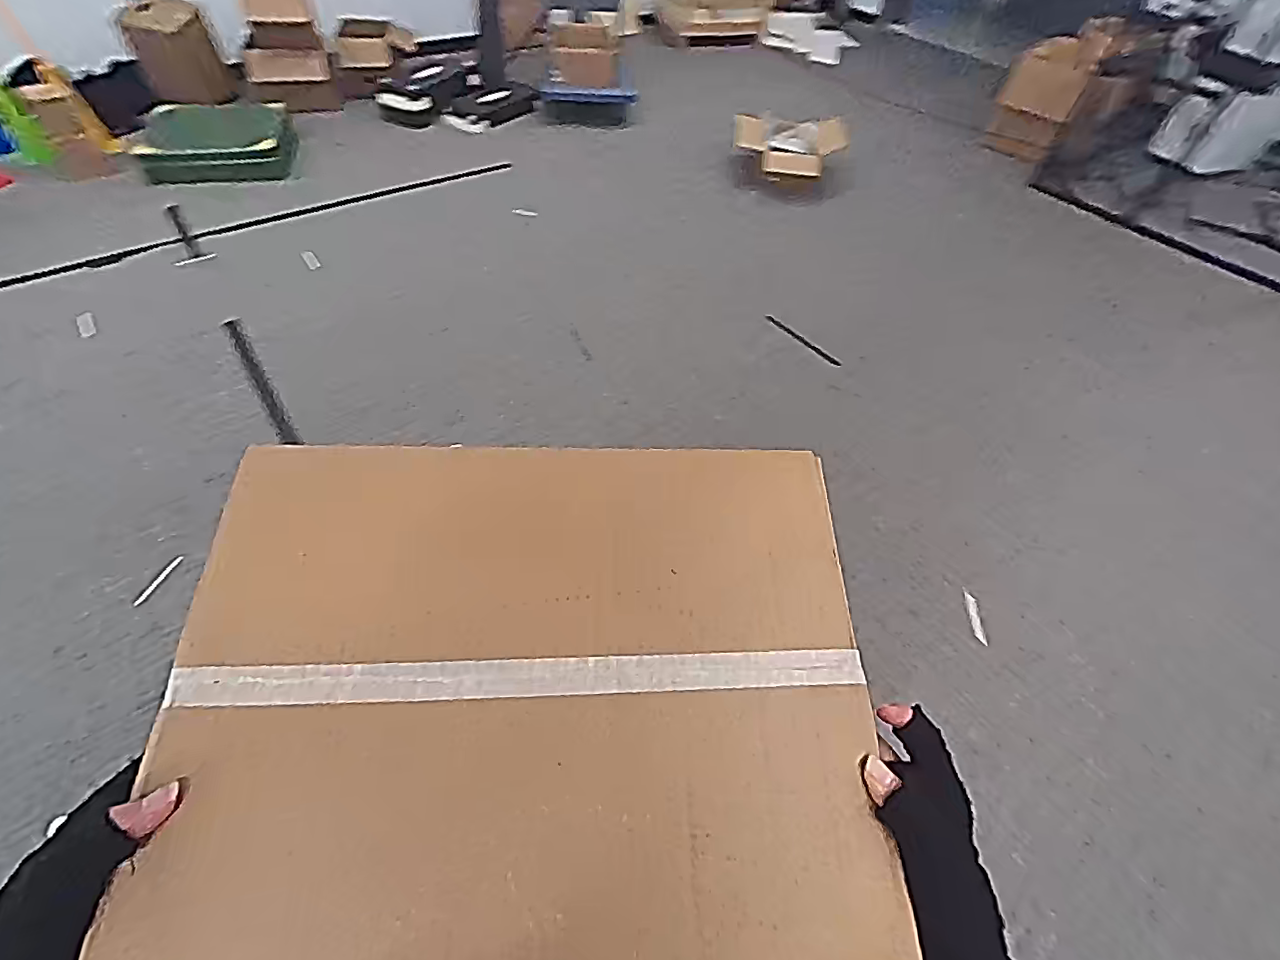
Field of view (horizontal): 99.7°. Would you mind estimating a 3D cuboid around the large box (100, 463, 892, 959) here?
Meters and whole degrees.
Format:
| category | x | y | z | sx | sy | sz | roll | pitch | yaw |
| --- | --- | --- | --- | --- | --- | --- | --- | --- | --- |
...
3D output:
| category | x | y | z | sx | sy | sz | roll | pitch | yaw |
| --- | --- | --- | --- | --- | --- | --- | --- | --- | --- |
| large box | -0.081 | 0.194 | 0.462 | 0.408 | 0.320 | 0.320 | -1 | 63 | -5 |
